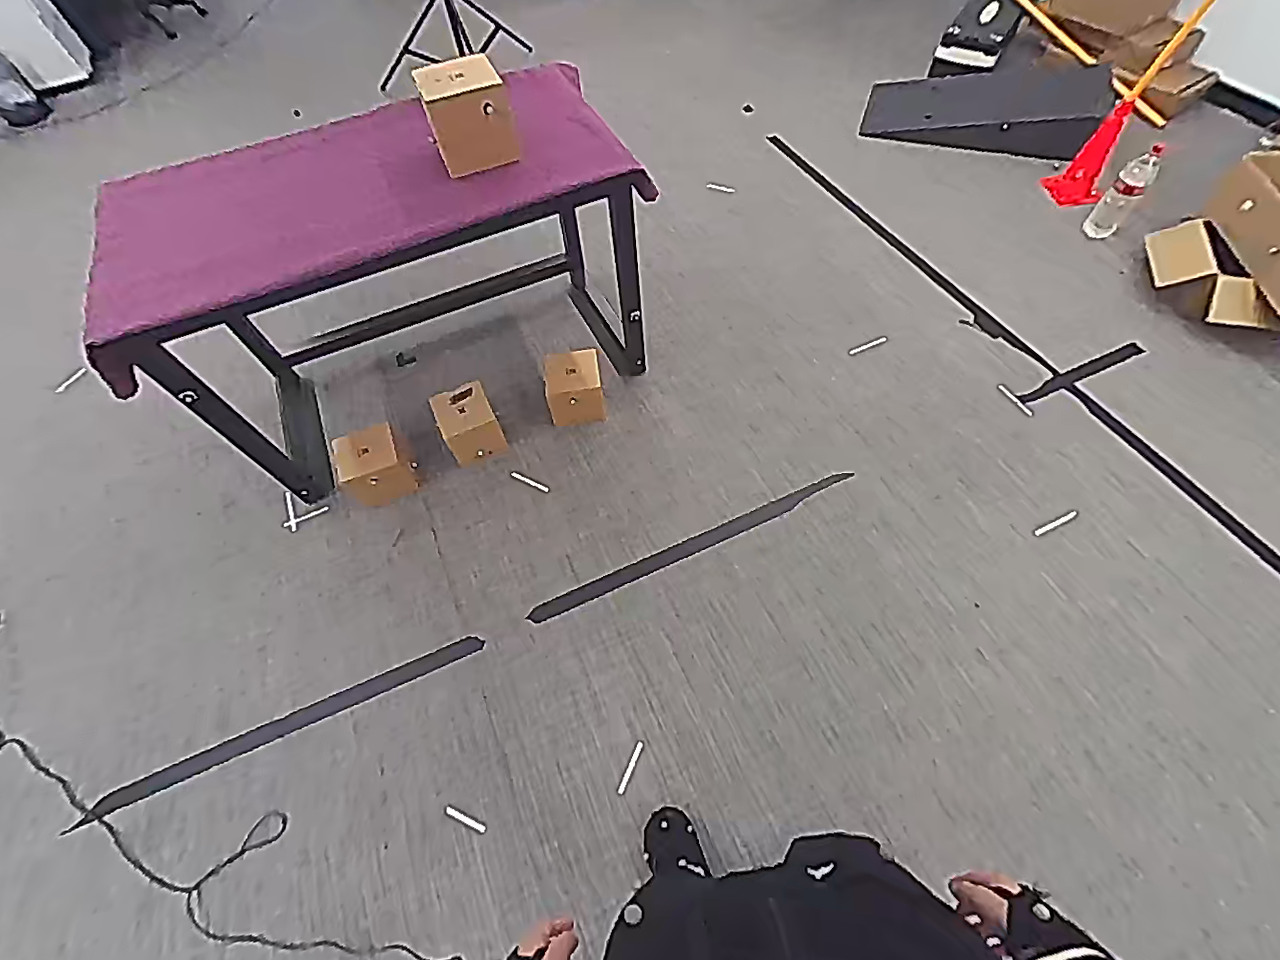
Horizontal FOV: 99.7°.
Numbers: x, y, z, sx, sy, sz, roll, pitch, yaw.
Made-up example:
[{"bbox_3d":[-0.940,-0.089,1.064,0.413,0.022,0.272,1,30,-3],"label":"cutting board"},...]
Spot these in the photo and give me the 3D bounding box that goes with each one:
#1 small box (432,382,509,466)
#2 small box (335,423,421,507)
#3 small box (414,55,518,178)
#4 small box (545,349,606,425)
[{"bbox_3d":[-0.538,-0.176,1.728,0.168,0.176,0.179,-24,62,-10],"label":"small box"},{"bbox_3d":[-0.807,-0.042,1.669,0.179,0.176,0.168,-21,61,-9],"label":"small box"},{"bbox_3d":[-0.398,-0.846,1.264,0.179,0.176,0.168,-22,60,-8],"label":"small box"},{"bbox_3d":[-0.208,-0.302,1.782,0.179,0.176,0.168,-9,60,0],"label":"small box"}]
